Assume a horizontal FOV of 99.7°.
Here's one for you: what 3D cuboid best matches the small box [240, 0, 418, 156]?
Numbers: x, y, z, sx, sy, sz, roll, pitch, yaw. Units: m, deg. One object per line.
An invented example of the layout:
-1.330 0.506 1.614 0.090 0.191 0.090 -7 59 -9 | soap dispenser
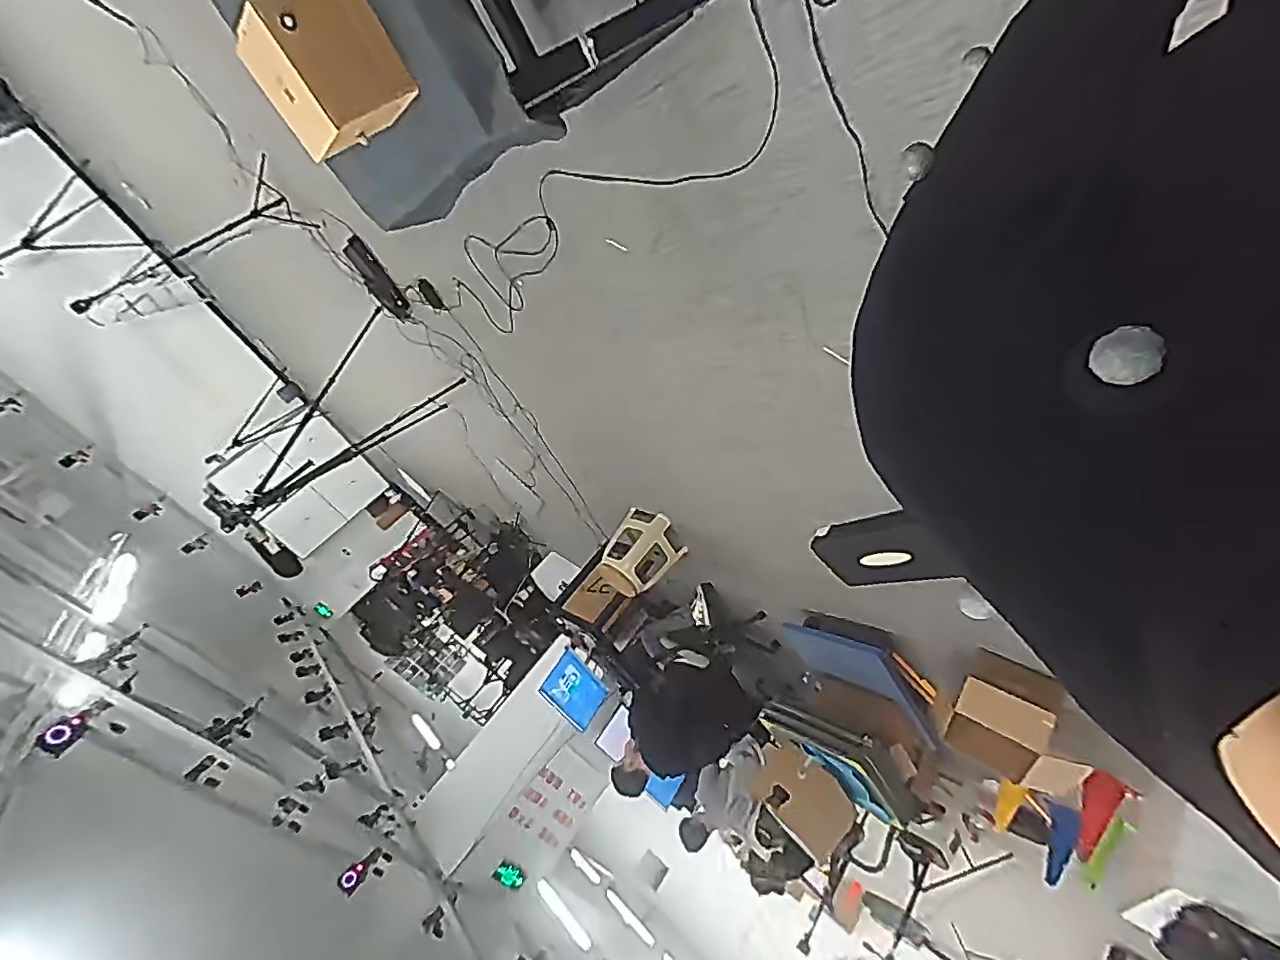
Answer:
-0.498 -0.673 0.879 0.168 0.176 0.179 12 142 48 | small box
